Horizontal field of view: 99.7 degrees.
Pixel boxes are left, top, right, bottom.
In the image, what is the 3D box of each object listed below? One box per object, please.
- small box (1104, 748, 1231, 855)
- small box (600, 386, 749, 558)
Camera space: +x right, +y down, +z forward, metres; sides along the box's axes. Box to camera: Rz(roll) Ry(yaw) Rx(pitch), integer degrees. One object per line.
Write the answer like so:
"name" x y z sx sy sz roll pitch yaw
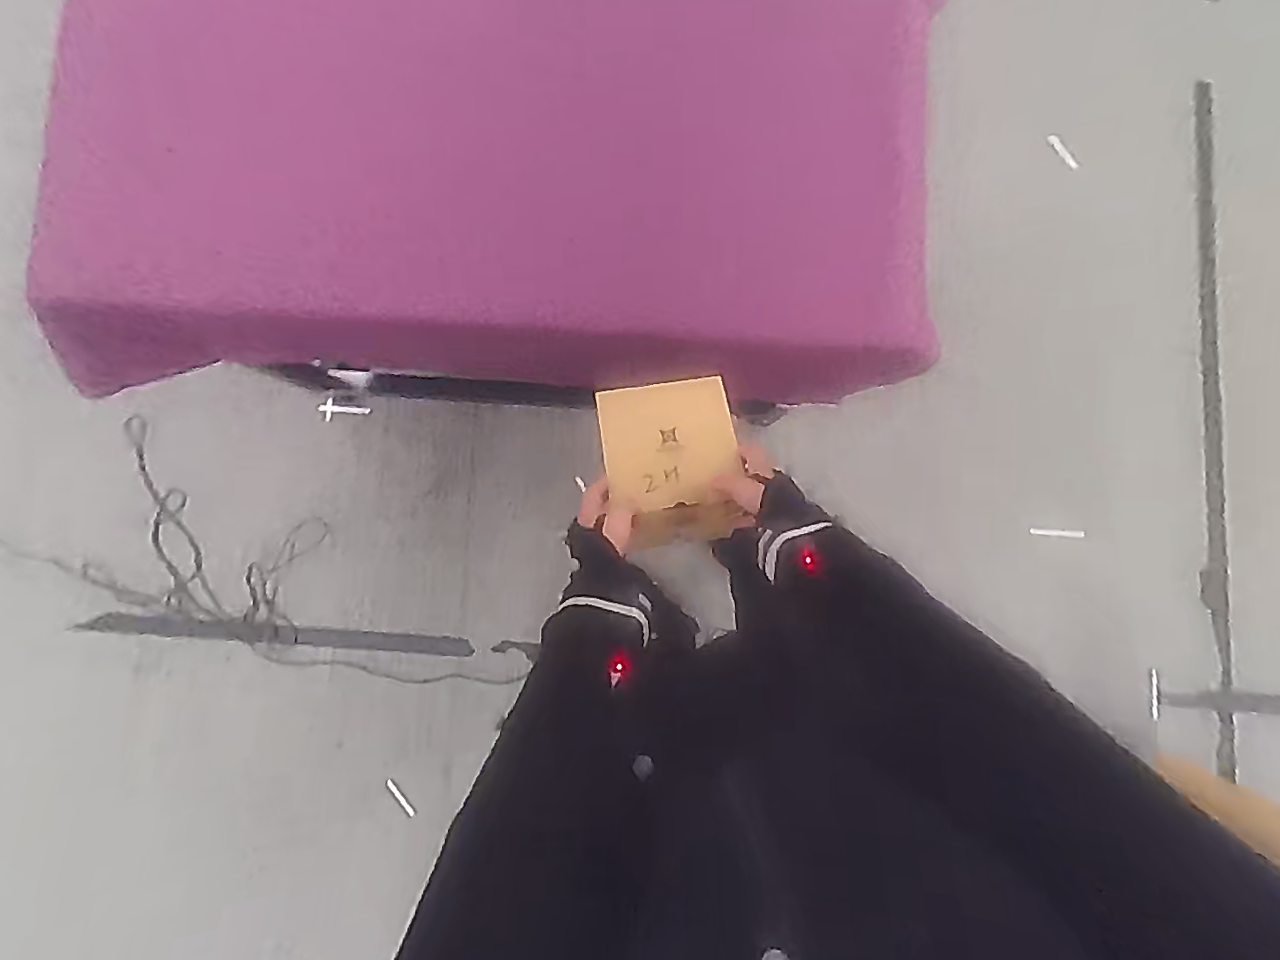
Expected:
"small box" 1.295 0.787 1.333 0.168 0.176 0.179 1 85 -1
"small box" 0.040 -0.004 0.742 0.168 0.176 0.179 -8 69 -1
